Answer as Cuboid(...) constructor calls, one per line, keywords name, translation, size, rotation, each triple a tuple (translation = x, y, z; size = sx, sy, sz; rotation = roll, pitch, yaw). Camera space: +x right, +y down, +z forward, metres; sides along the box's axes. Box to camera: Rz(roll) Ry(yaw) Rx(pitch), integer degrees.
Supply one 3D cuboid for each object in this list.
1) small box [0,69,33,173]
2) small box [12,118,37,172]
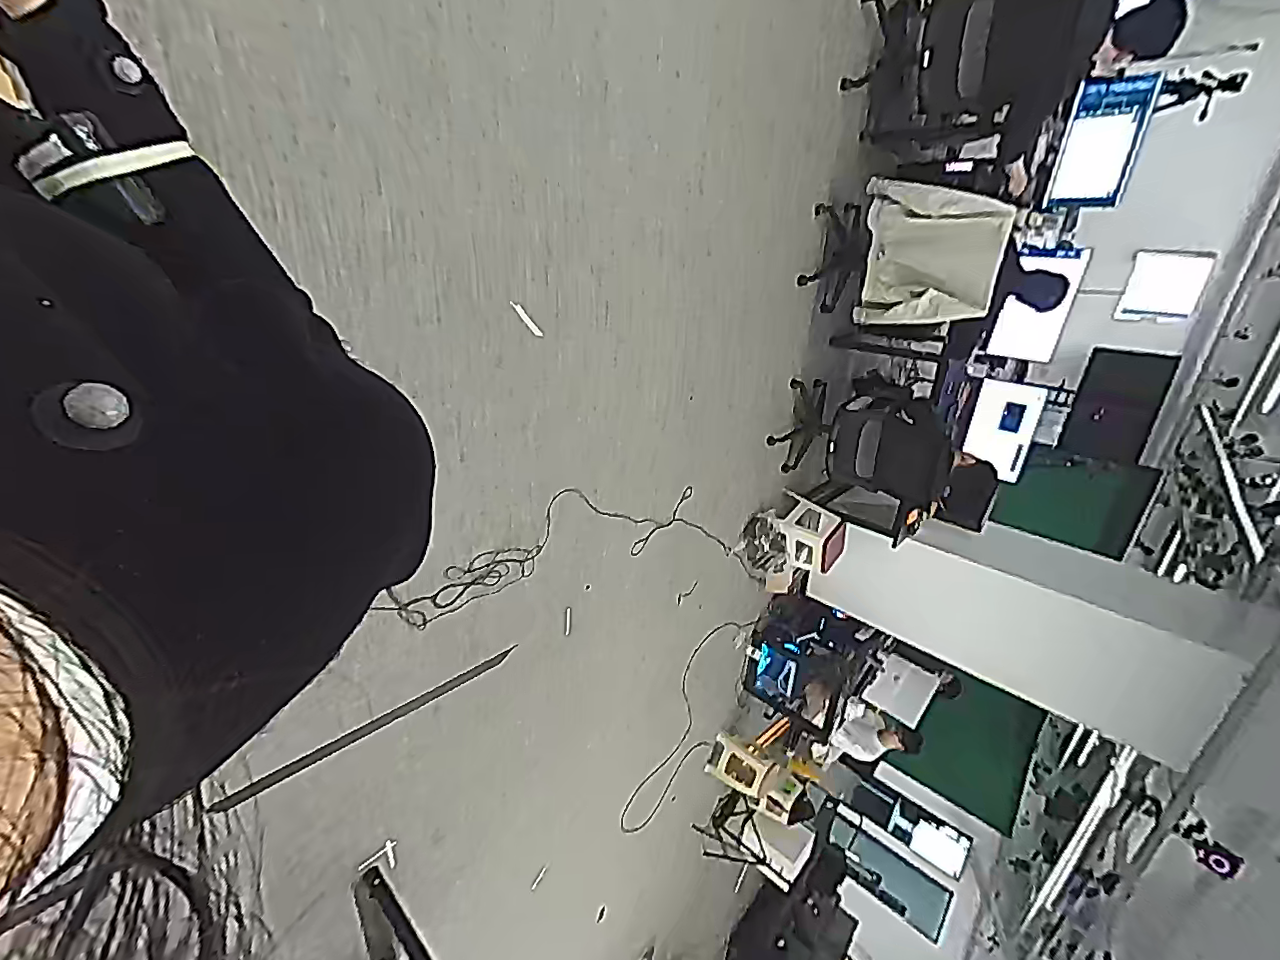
Cuboid(name="small box", translation=(-0.941, -0.500, 0.697), size=(0.179, 0.176, 0.168), rotation=(-22, 125, -43))
Cuboid(name="small box", translation=(-1.057, -0.556, 0.799), size=(0.179, 0.176, 0.168), rotation=(-25, 126, -42))
